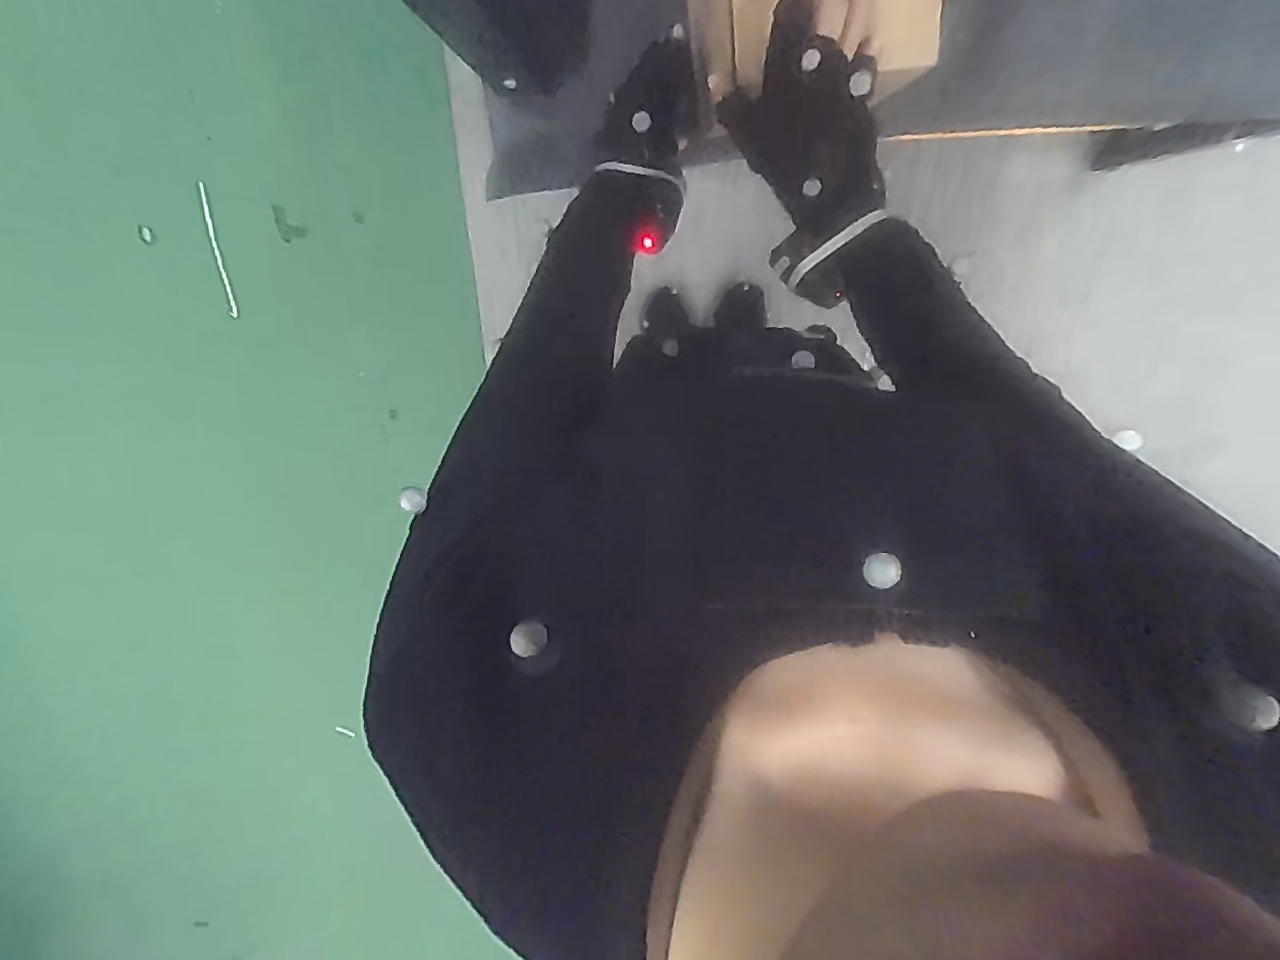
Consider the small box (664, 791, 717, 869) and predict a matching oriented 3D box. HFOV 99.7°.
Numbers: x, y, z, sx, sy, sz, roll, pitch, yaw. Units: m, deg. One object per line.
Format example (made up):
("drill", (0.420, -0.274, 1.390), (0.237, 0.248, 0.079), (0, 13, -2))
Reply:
("small box", (0.175, 1.227, 1.907), (0.168, 0.176, 0.179), (-7, 111, 7))
